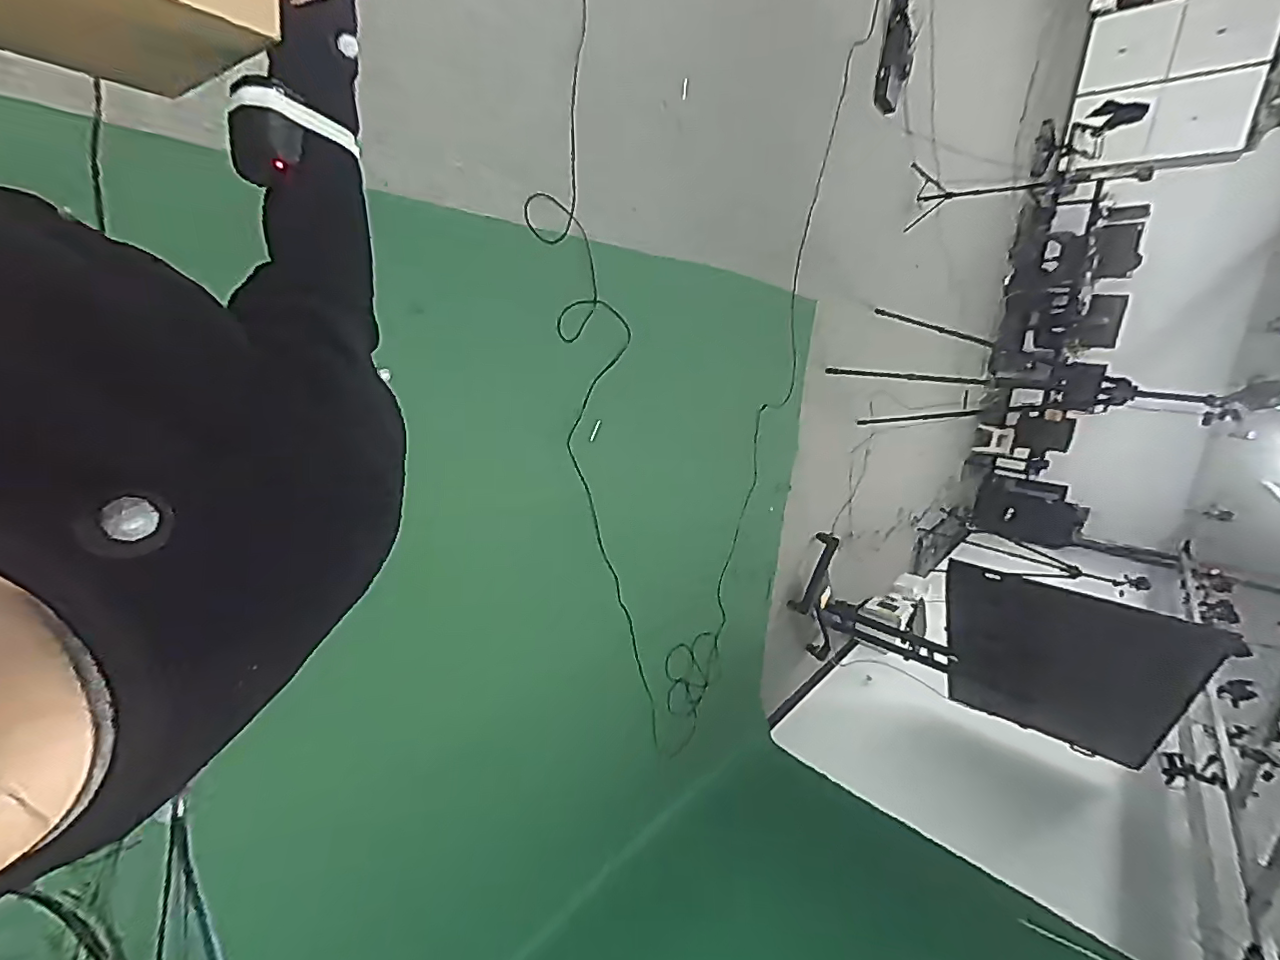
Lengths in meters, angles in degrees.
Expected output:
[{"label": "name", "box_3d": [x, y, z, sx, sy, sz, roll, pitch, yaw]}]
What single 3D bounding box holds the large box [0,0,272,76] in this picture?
[{"label": "large box", "box_3d": [-0.504, -0.498, 0.310, 0.408, 0.320, 0.320, -14, 117, -48]}]
